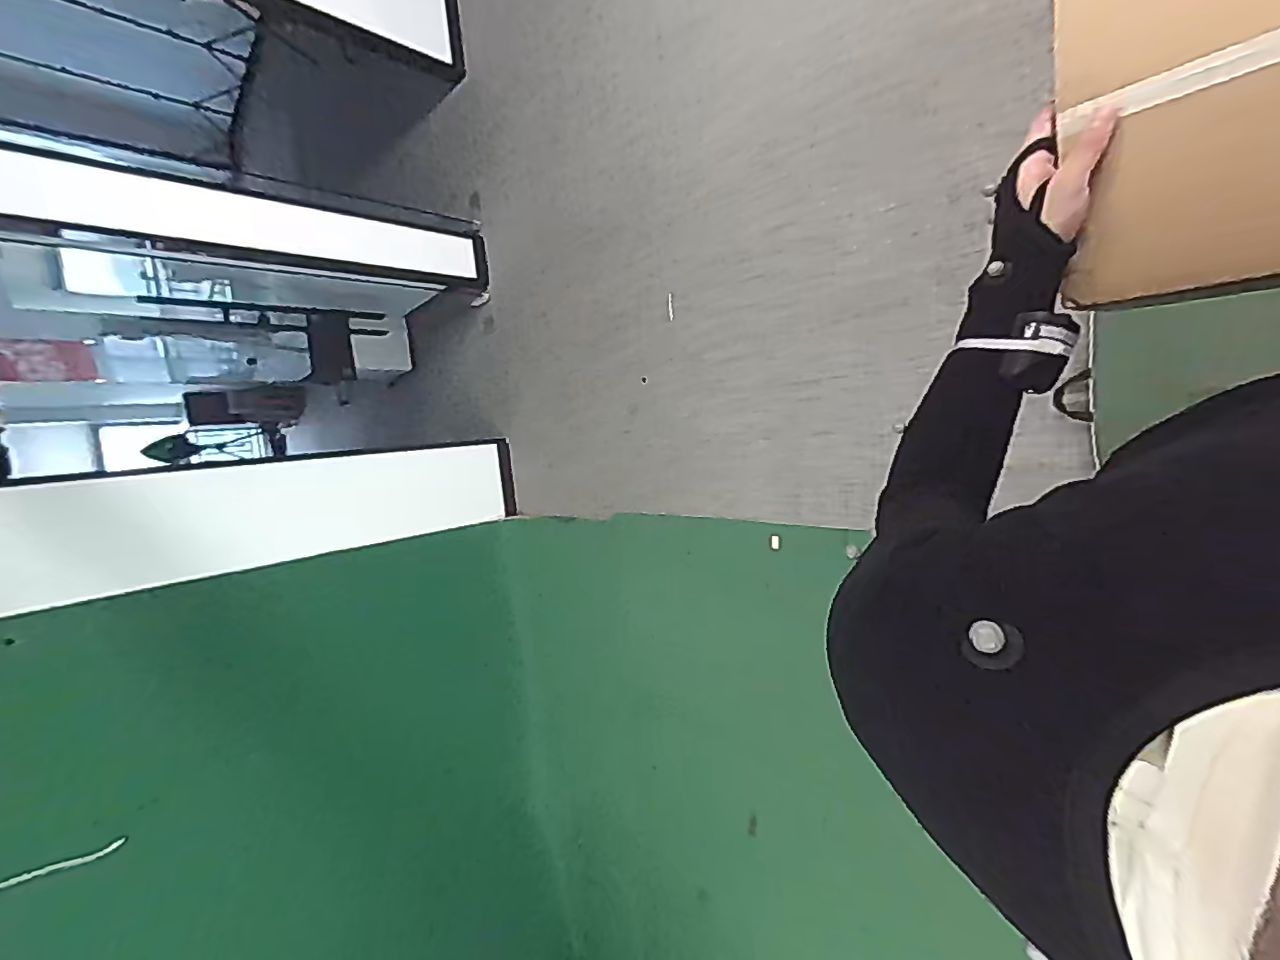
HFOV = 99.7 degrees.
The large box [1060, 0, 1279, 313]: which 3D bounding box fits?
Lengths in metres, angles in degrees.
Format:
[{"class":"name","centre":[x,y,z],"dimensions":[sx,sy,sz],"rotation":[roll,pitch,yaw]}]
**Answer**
[{"class":"large box","centre":[0.621,-0.339,0.440],"dimensions":[0.408,0.320,0.320],"rotation":[0,102,46]}]
